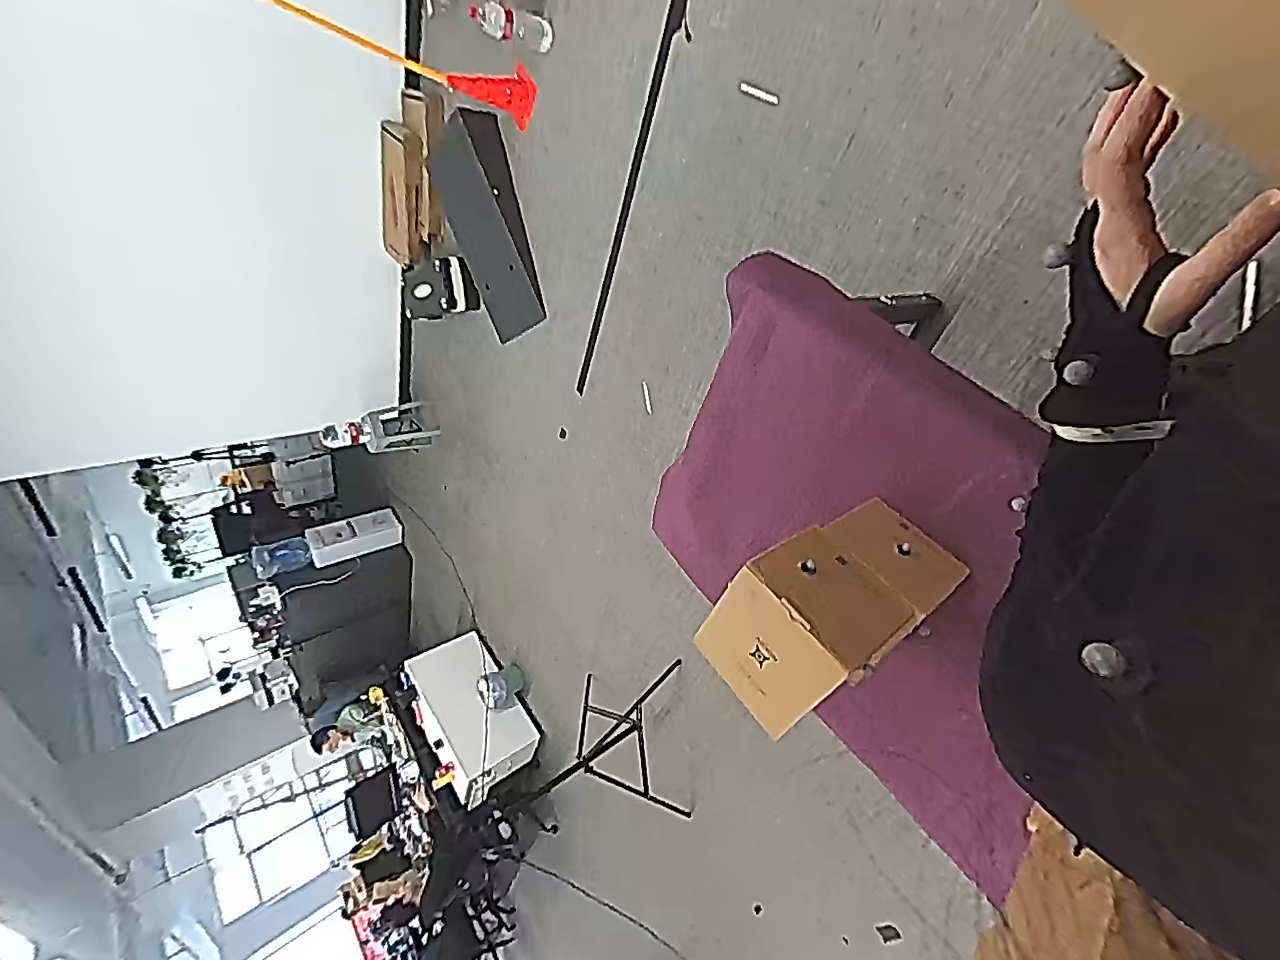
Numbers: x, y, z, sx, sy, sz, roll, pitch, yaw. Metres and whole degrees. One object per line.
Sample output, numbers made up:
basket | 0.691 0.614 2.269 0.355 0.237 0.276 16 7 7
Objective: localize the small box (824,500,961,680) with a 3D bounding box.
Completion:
small box | 0.344 0.155 0.811 0.168 0.176 0.179 46 135 29

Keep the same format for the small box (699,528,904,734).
small box | 0.215 0.190 0.718 0.168 0.176 0.179 48 136 28

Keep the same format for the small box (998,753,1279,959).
small box | 0.477 0.391 0.489 0.168 0.176 0.179 41 132 32
